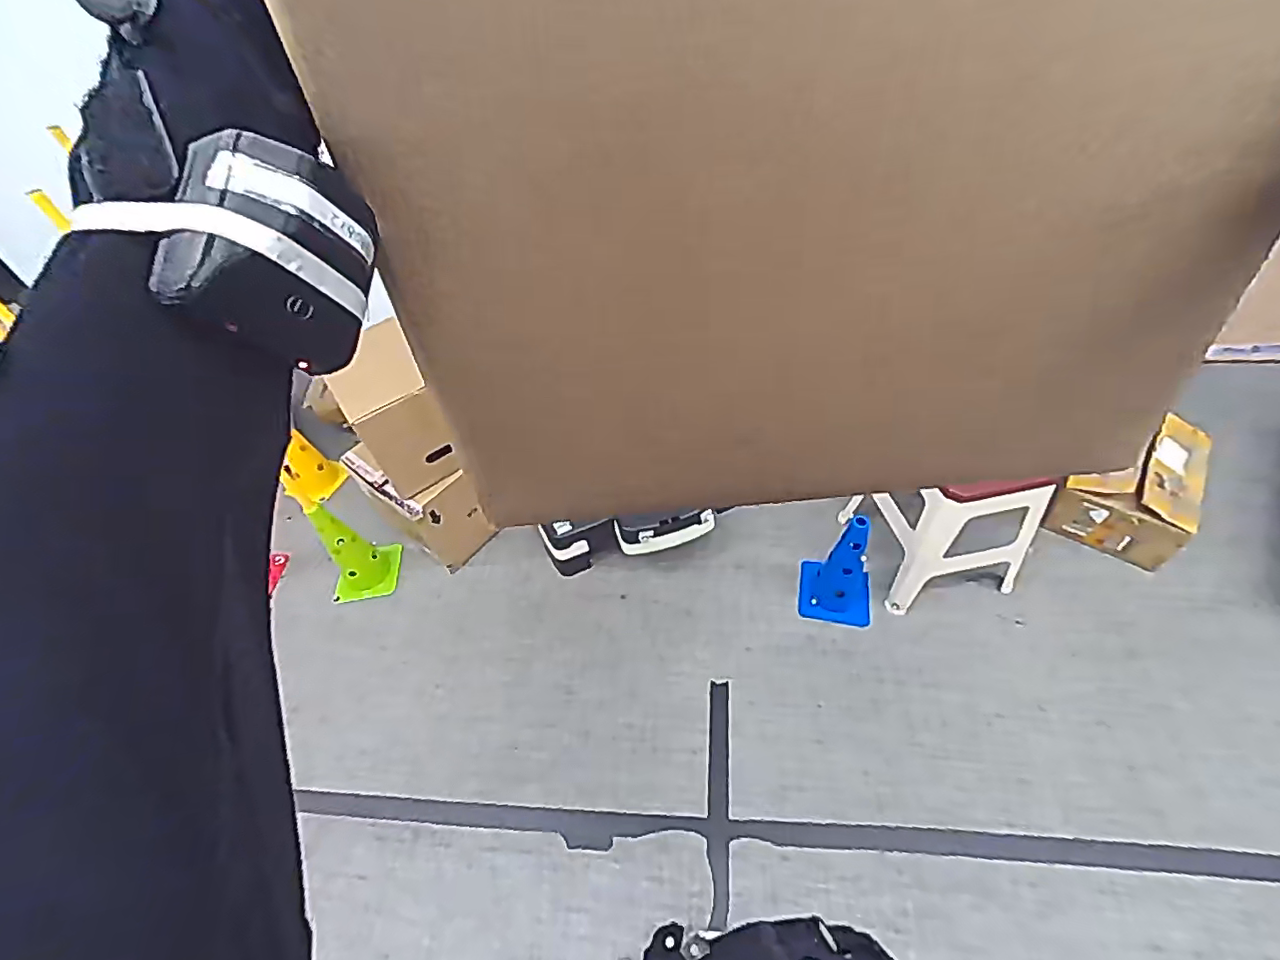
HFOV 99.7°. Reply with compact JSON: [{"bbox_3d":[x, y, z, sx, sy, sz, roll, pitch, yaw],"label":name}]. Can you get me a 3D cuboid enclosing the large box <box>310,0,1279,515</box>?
[{"bbox_3d":[0.078,-0.203,0.368,0.408,0.320,0.320,-5,41,1],"label":"large box"}]
